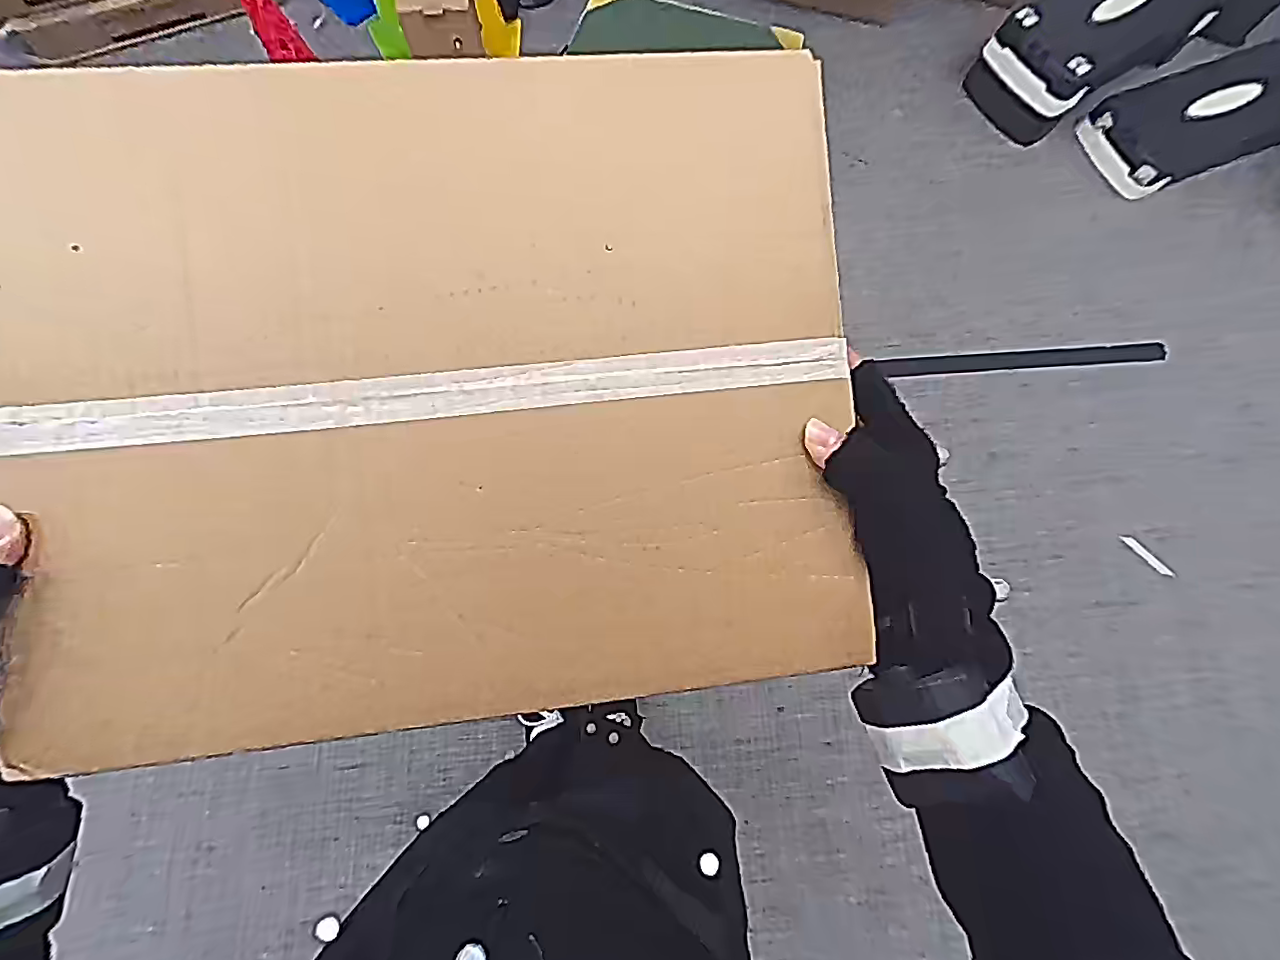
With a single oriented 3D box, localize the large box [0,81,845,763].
[{"bbox_3d":[-0.113,-0.041,0.418,0.408,0.320,0.320,-5,90,-6],"label":"large box"}]
